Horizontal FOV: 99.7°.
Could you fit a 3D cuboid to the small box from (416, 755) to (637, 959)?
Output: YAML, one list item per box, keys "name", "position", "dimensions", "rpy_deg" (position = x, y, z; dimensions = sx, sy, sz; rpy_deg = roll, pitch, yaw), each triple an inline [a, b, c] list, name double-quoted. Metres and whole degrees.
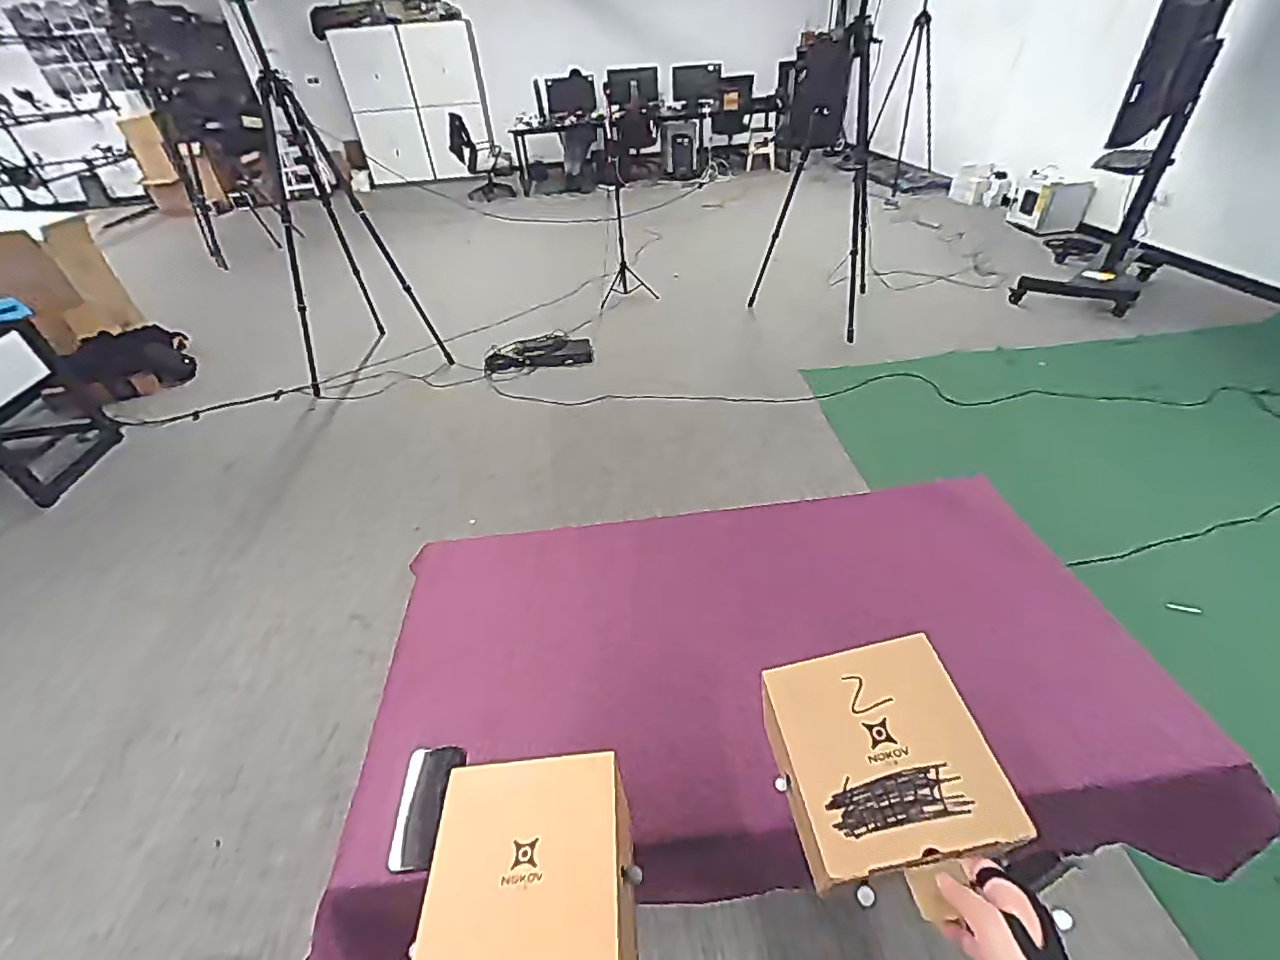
- name: "small box"
  position: [-0.093, 0.401, 0.527]
  dimensions: [0.168, 0.176, 0.179]
  rpy_deg: [-6, 37, 1]
